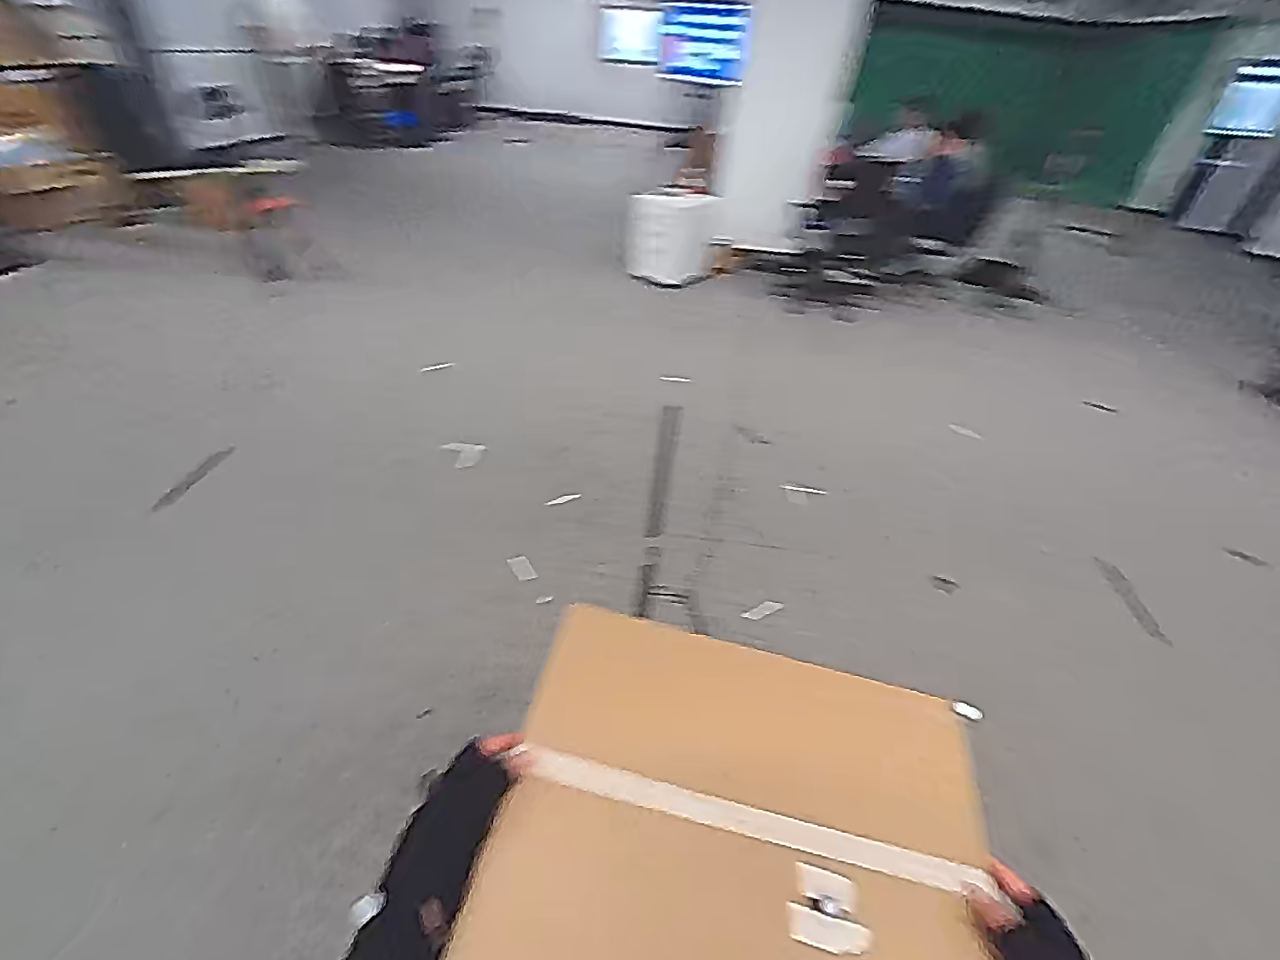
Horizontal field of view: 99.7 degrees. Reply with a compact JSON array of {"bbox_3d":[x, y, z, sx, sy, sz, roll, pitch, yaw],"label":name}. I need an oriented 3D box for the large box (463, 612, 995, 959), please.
[{"bbox_3d":[0.074,0.392,0.572,0.408,0.320,0.320,14,47,4],"label":"large box"}]
